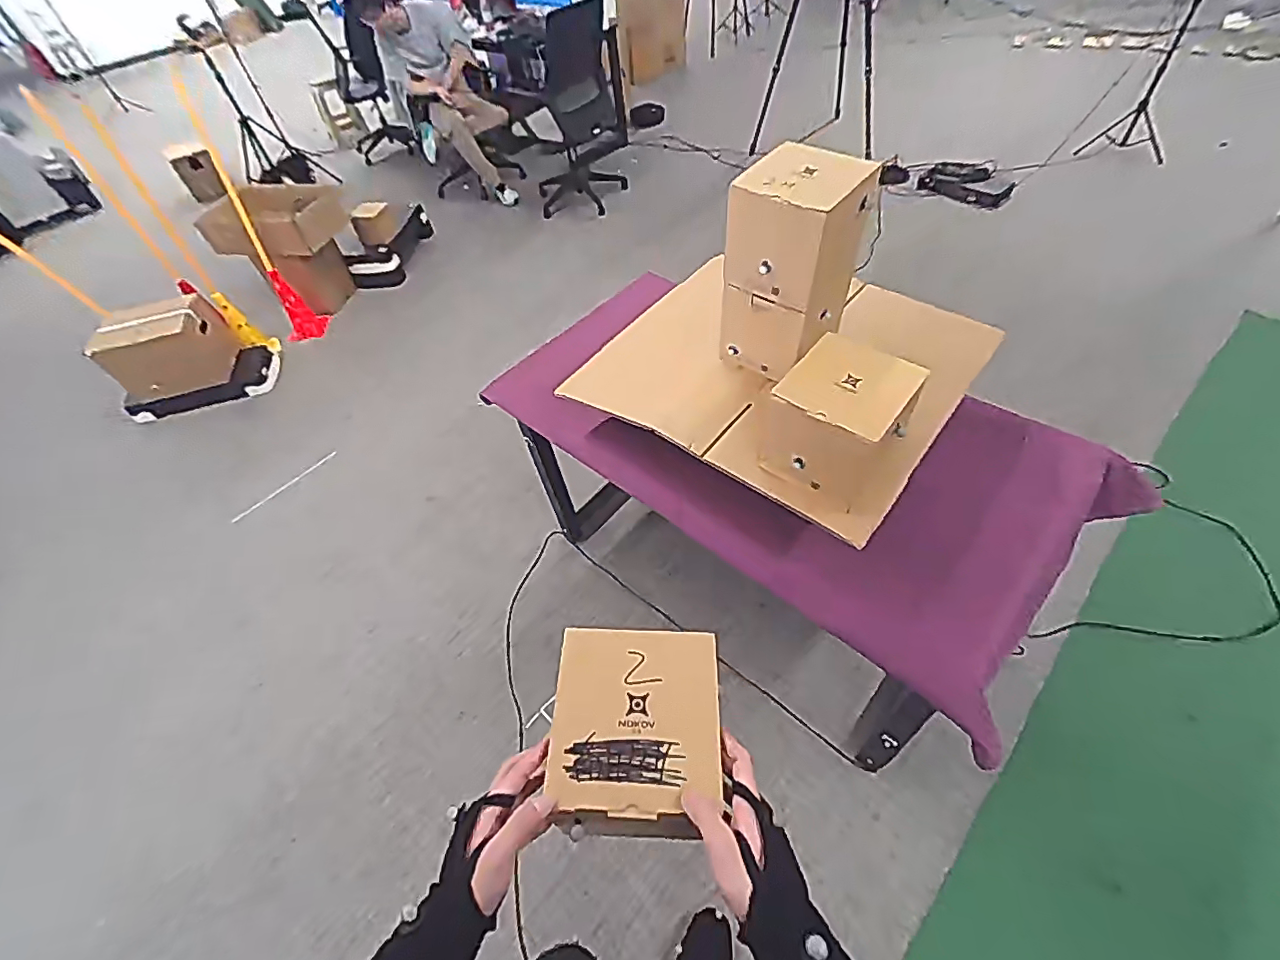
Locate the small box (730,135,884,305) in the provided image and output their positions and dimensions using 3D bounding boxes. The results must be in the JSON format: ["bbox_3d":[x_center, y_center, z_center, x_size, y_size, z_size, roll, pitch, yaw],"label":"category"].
[{"bbox_3d":[0.257,-0.418,0.874,0.168,0.176,0.179,32,63,25],"label":"small box"}]

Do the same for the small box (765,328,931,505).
[{"bbox_3d":[0.309,-0.097,0.839,0.168,0.176,0.179,32,63,26],"label":"small box"}]

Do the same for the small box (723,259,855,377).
[{"bbox_3d":[0.268,-0.319,1.004,0.168,0.176,0.179,33,62,25],"label":"small box"}]
